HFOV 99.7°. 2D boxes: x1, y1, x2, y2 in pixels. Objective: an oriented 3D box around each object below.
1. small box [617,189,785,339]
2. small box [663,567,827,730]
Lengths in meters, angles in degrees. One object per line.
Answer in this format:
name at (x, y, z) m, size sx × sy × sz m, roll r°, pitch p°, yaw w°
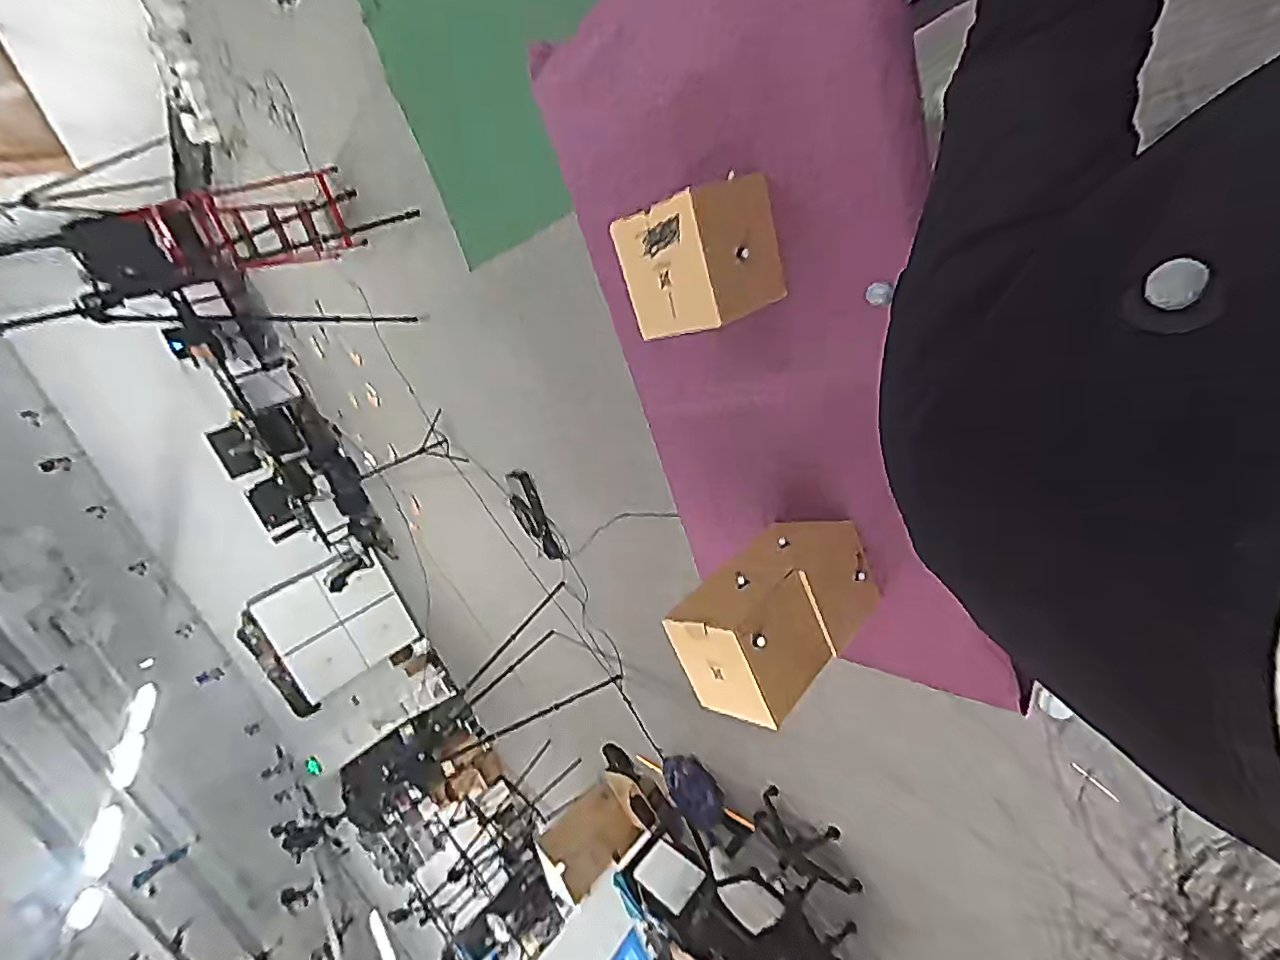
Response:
small box at (0.097, -0.326, 0.819) m, size 0.168 × 0.176 × 0.179 m, roll 12°, pitch 125°, yaw 49°
small box at (0.174, 0.261, 0.880) m, size 0.168 × 0.176 × 0.179 m, roll -11°, pitch 106°, yaw 54°
